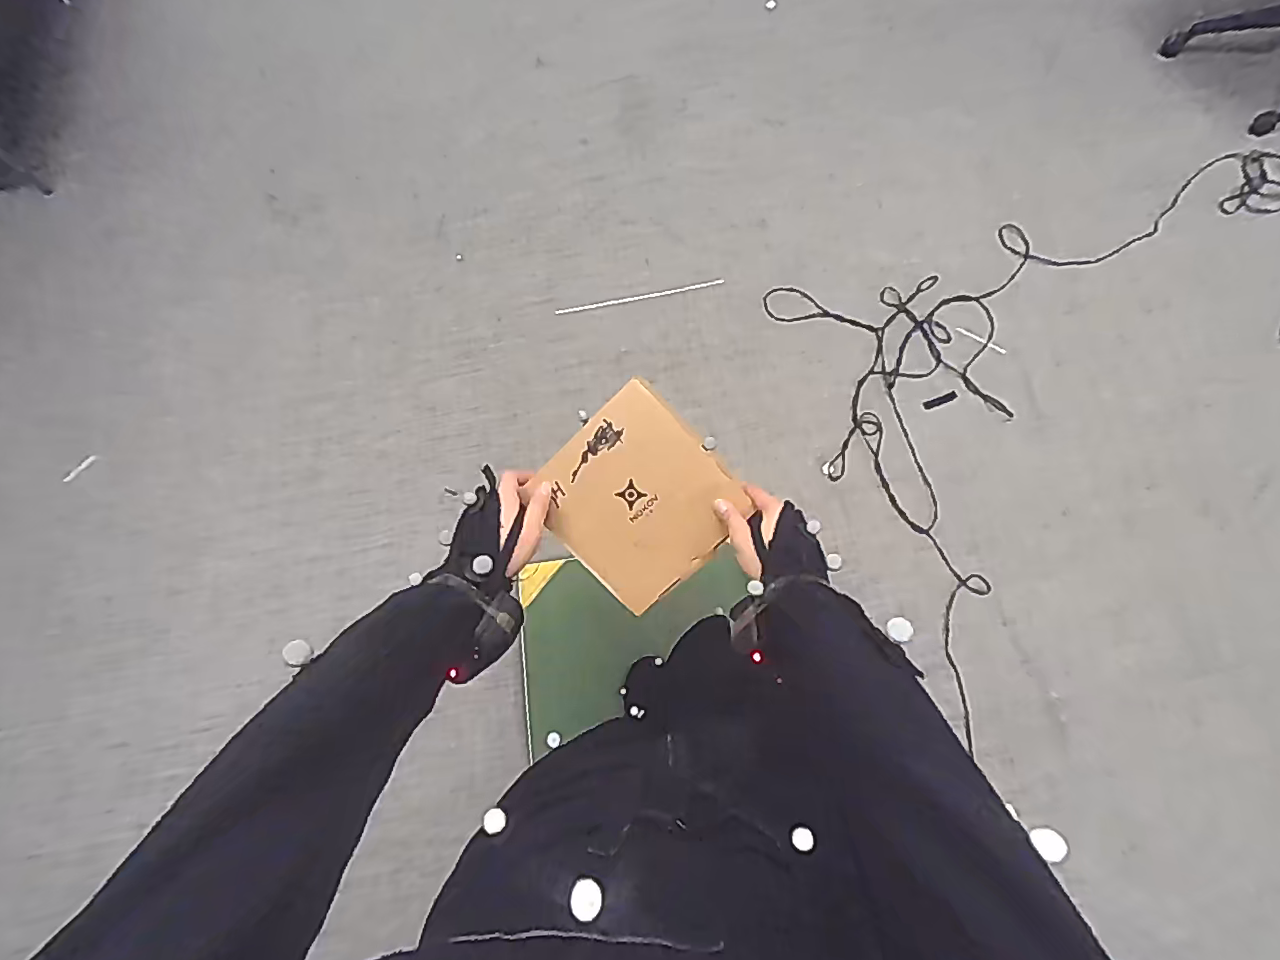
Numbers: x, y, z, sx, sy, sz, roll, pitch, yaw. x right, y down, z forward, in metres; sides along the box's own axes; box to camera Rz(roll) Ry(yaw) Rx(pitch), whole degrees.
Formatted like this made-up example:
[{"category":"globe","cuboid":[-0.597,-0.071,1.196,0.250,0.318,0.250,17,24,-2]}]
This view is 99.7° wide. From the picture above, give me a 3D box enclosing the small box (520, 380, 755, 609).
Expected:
[{"category":"small box","cuboid":[0.001,0.004,0.608,0.168,0.176,0.179,-43,95,8]}]
